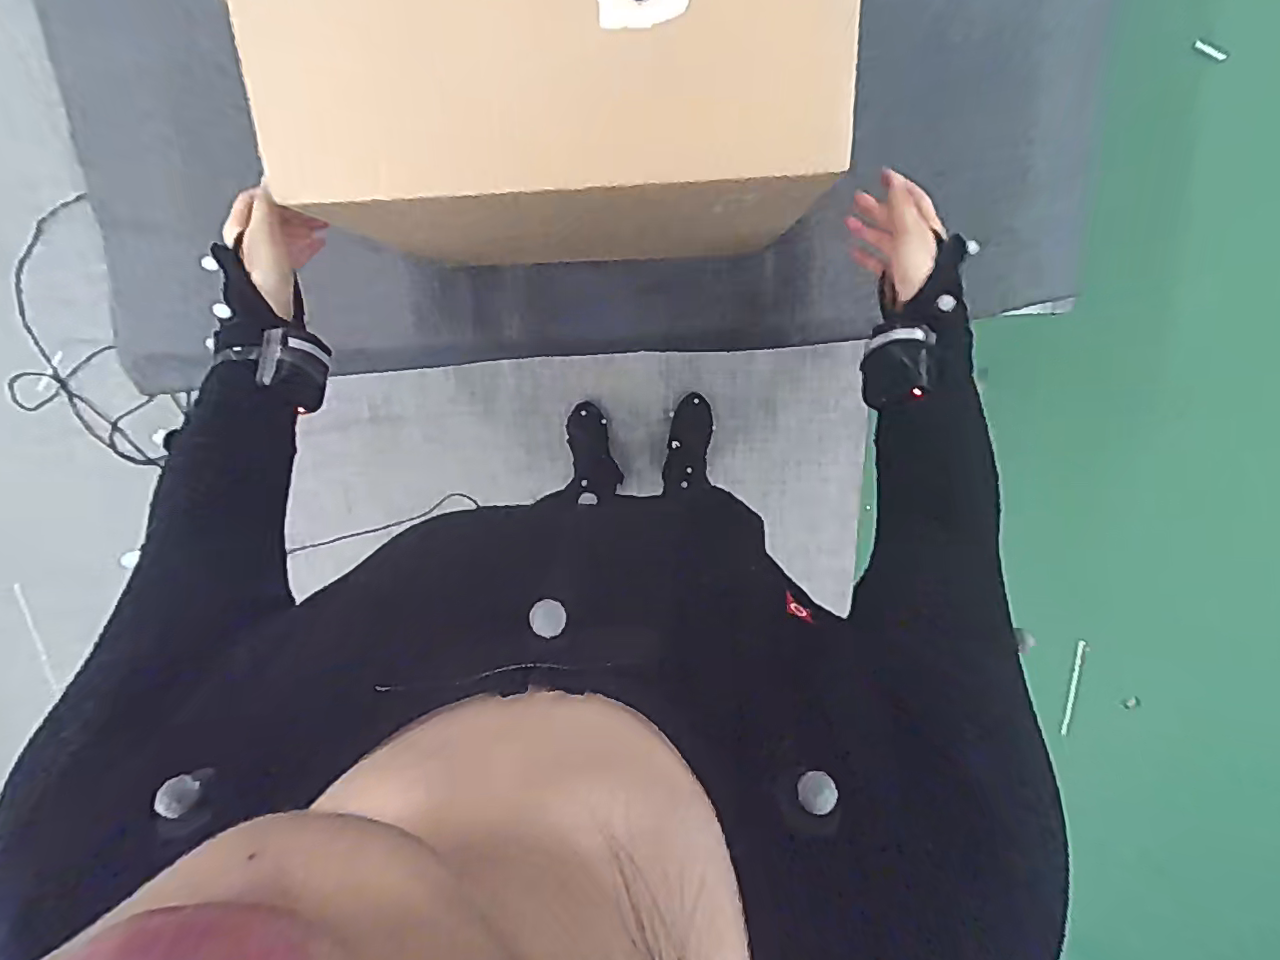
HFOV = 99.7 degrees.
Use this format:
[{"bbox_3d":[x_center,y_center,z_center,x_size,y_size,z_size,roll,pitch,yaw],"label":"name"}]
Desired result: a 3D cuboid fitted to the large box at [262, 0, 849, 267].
[{"bbox_3d":[-0.058,-0.394,0.501,0.408,0.320,0.320,-2,104,2],"label":"large box"}]
